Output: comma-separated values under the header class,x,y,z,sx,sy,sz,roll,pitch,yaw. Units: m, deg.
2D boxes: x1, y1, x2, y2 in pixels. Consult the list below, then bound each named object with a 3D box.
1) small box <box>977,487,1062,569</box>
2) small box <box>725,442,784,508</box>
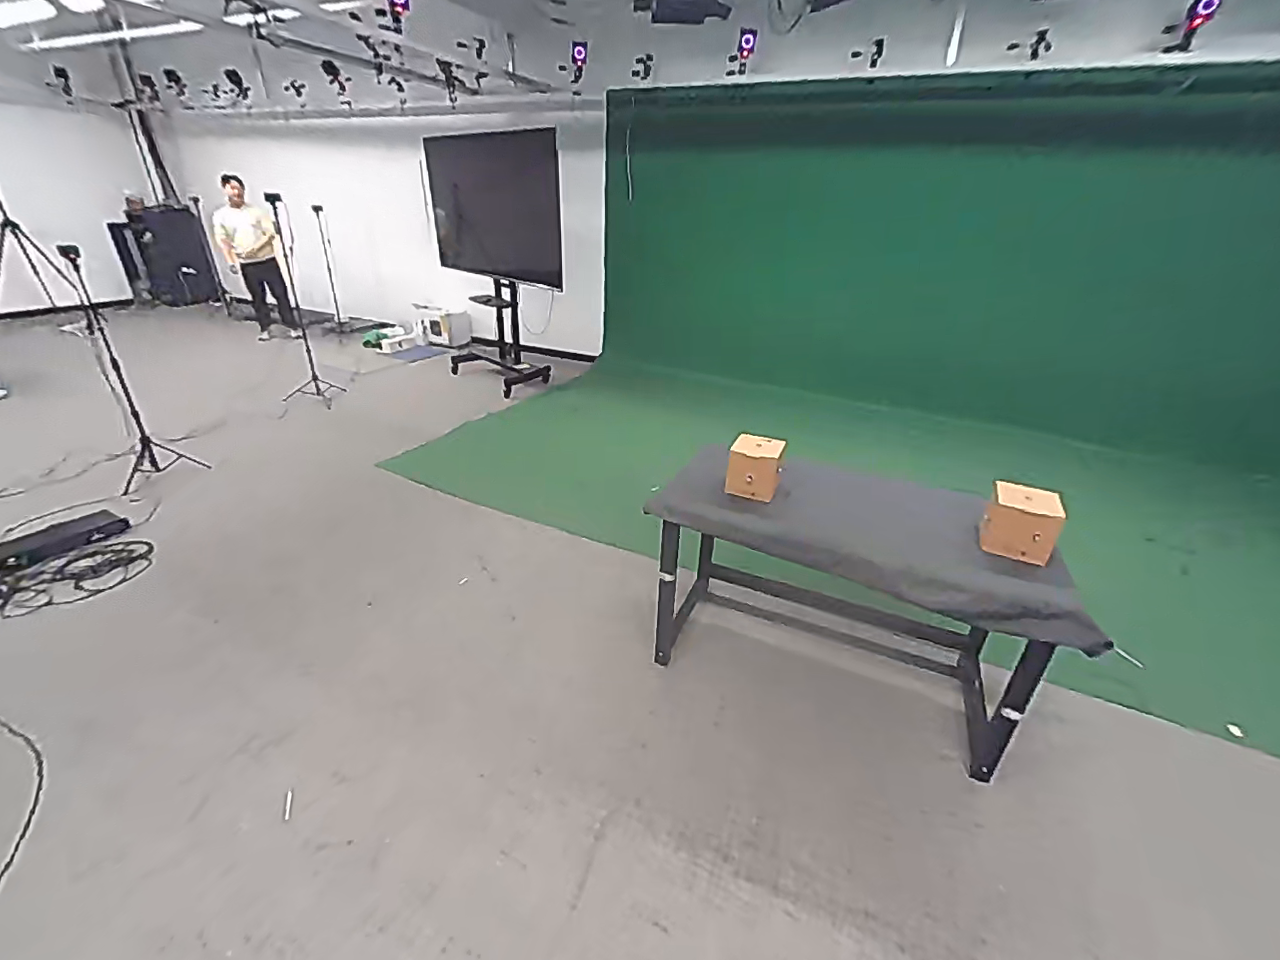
class,x,y,z,sx,sy,sz,roll,pitch,yaw
small box,1.147,0.145,1.647,0.168,0.176,0.179,15,28,23
small box,0.407,-0.017,1.928,0.168,0.176,0.179,13,28,20
